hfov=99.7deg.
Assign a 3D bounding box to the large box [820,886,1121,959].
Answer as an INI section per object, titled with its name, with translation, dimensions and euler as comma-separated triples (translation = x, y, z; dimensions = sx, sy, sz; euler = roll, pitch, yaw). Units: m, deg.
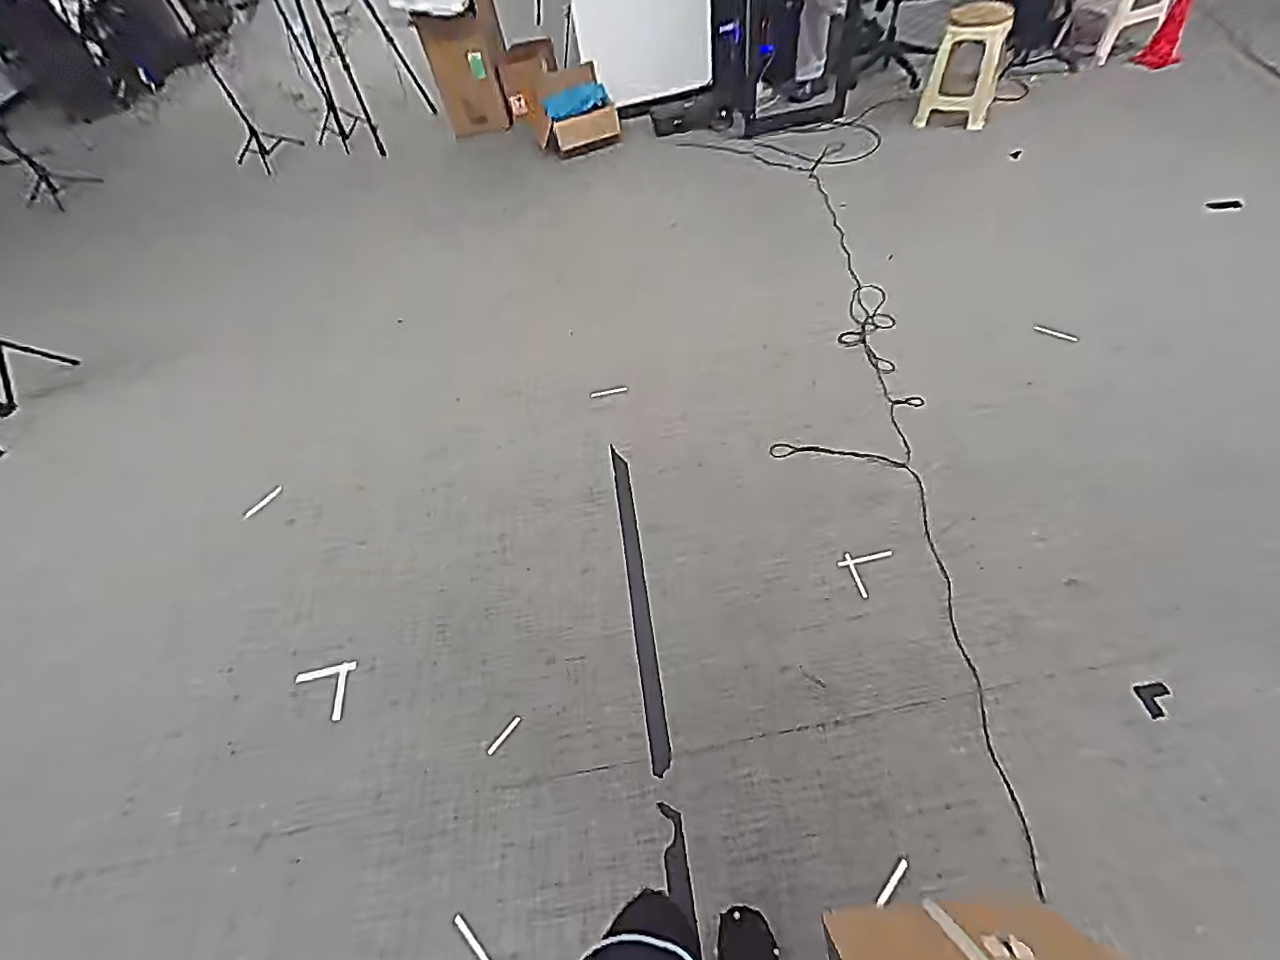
[large box]
translation = 0.432, 0.722, 0.586
dimensions = 0.320, 0.408, 0.320
euler = -7, 74, 2
